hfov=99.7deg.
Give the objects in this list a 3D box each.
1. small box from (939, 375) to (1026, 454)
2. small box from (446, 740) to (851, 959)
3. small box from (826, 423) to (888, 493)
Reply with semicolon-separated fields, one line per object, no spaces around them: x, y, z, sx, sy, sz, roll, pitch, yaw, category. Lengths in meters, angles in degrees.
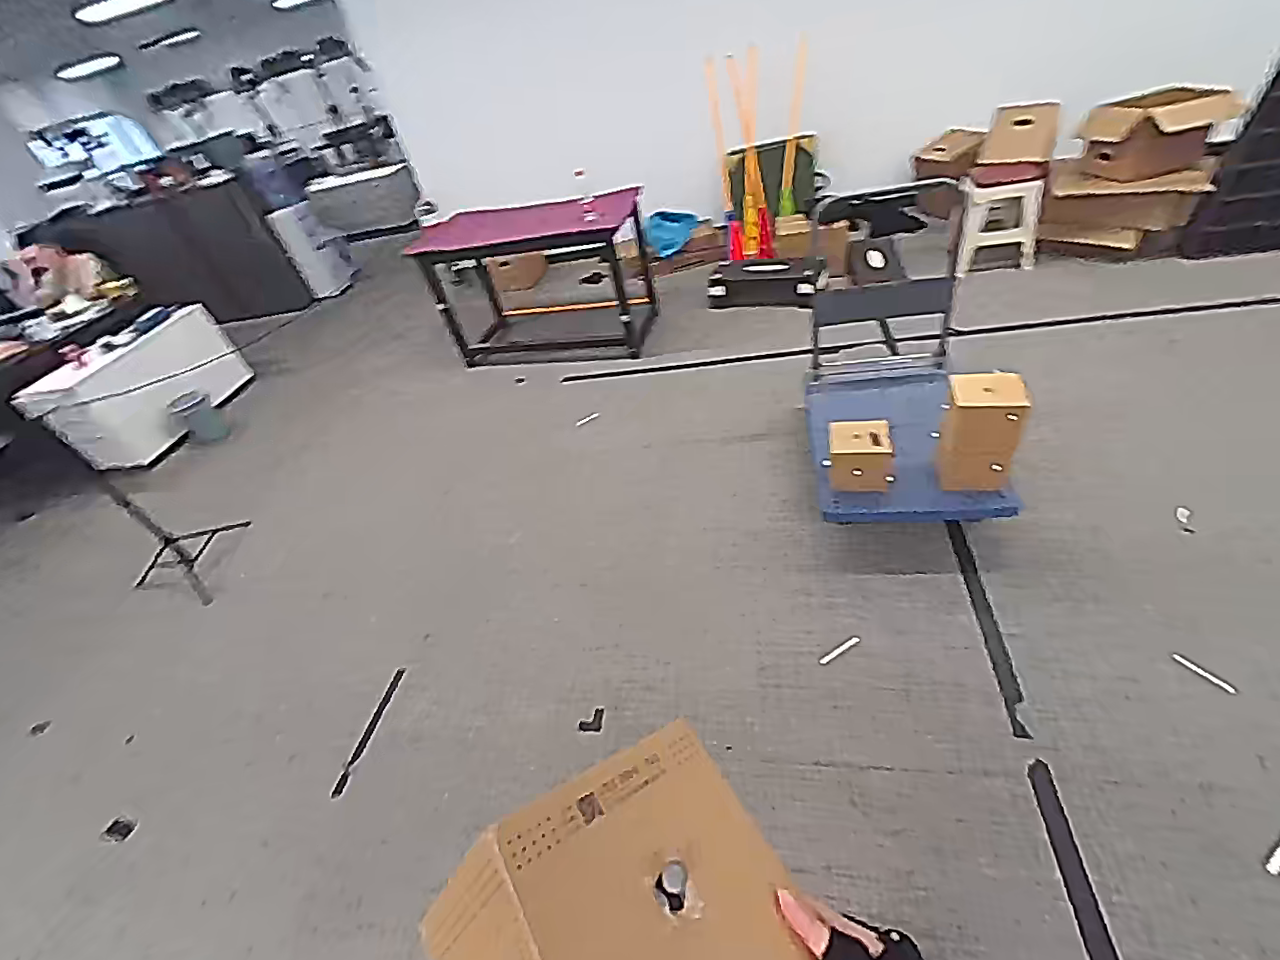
0.988;-0.190;1.580;0.179;0.176;0.168;2;43;18;small box
-0.009;0.303;0.357;0.168;0.179;0.176;-5;46;-42;small box
0.709;-0.070;1.781;0.179;0.176;0.168;-1;42;18;small box
